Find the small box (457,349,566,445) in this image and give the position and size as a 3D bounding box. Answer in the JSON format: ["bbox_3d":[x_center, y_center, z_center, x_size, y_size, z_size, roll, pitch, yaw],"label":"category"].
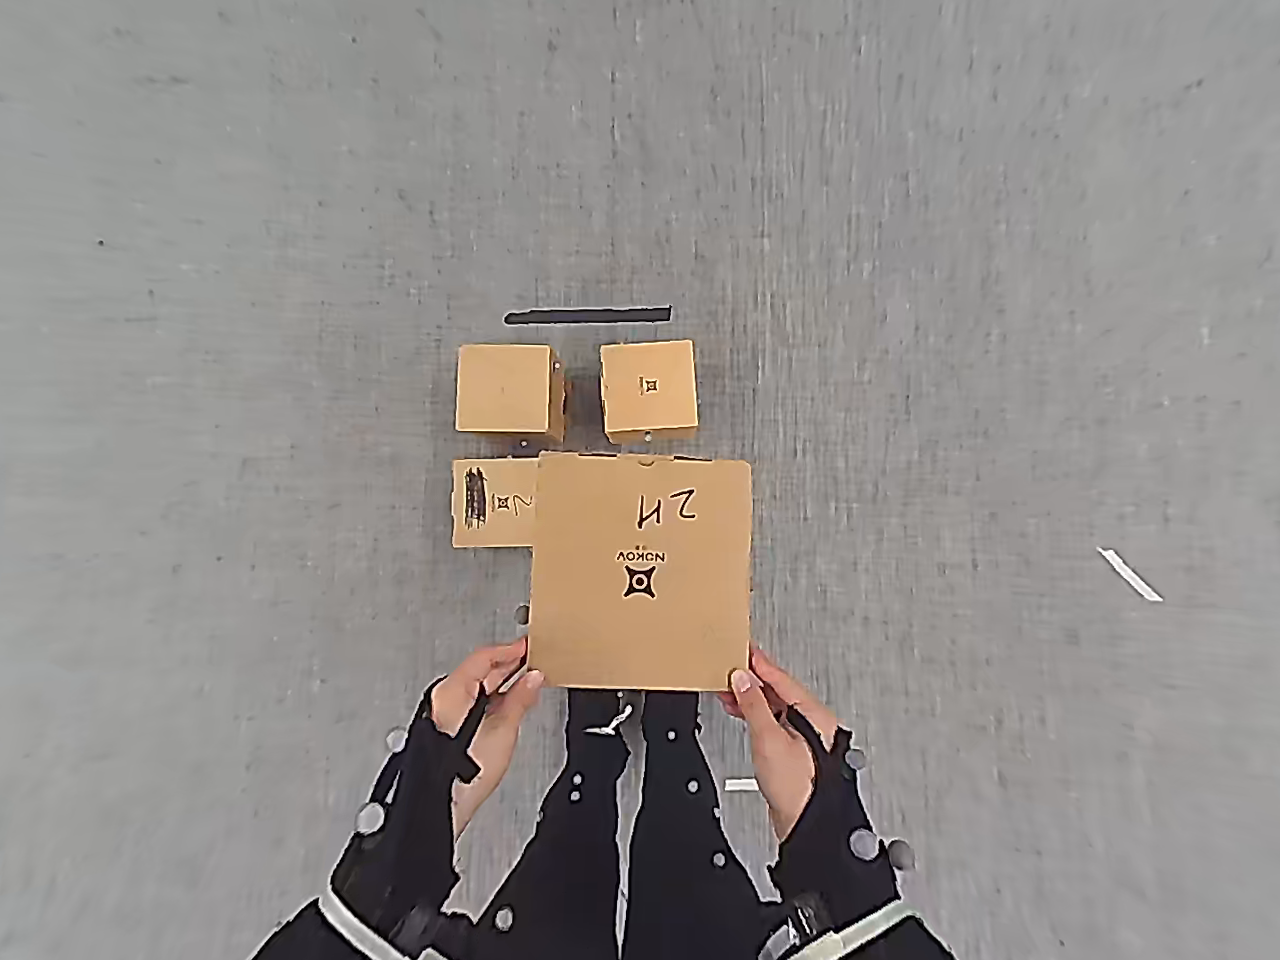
[{"bbox_3d":[-0.252,-0.160,1.090,0.179,0.176,0.168,1,86,1],"label":"small box"}]

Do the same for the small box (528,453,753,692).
[{"bbox_3d":[0.000,0.077,0.489,0.168,0.176,0.179,3,83,-2],"label":"small box"}]

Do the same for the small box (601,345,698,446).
[{"bbox_3d":[0.019,-0.163,1.089,0.179,0.176,0.168,-4,87,2],"label":"small box"}]
